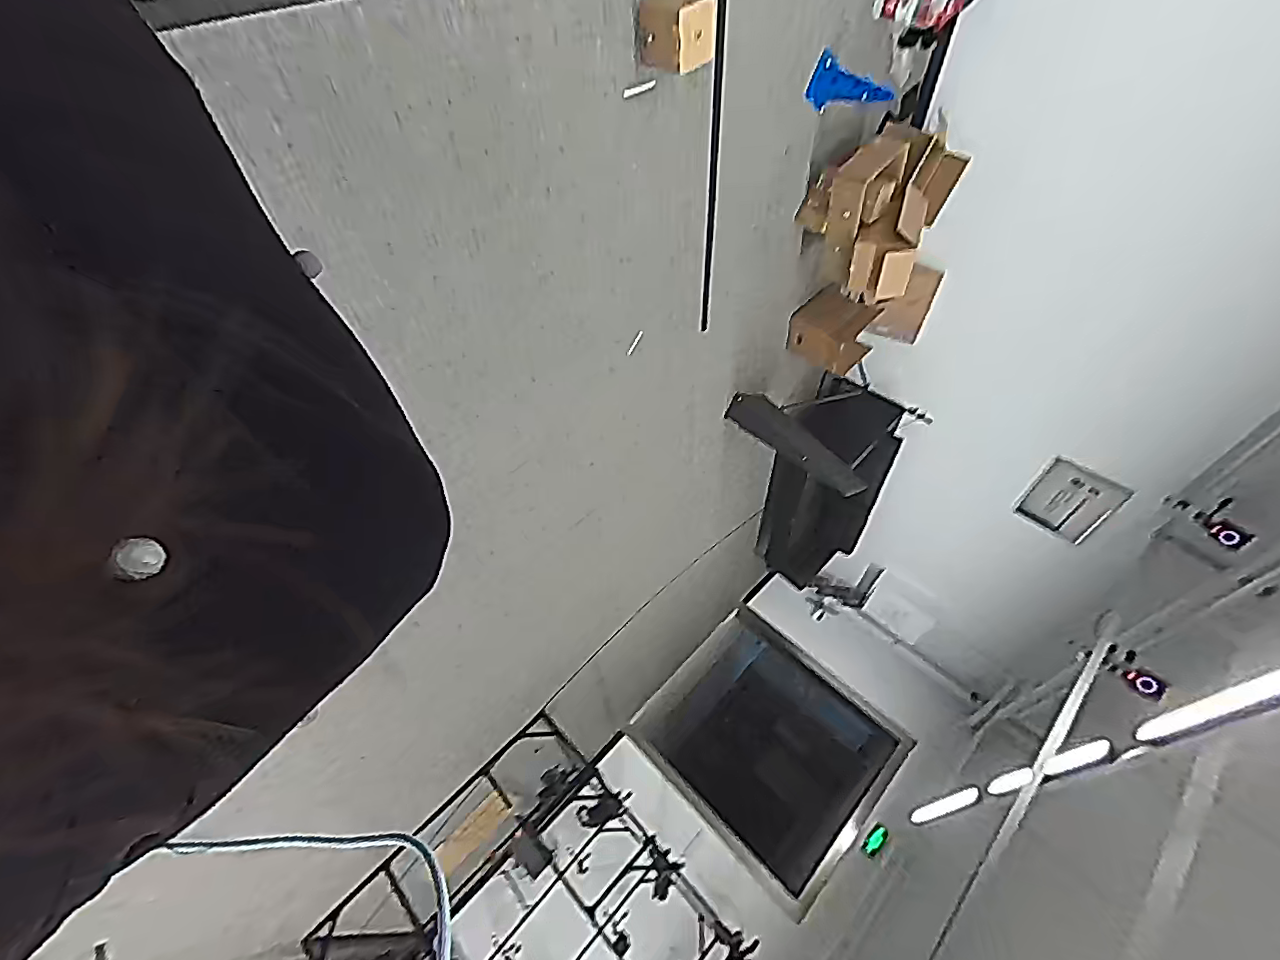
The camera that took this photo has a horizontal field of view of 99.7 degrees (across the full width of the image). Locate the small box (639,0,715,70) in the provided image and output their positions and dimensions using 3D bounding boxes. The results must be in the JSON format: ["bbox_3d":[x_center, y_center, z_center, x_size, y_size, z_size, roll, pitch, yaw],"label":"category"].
[{"bbox_3d":[0.119,-1.447,1.722,0.179,0.176,0.168,-40,150,-21],"label":"small box"}]
